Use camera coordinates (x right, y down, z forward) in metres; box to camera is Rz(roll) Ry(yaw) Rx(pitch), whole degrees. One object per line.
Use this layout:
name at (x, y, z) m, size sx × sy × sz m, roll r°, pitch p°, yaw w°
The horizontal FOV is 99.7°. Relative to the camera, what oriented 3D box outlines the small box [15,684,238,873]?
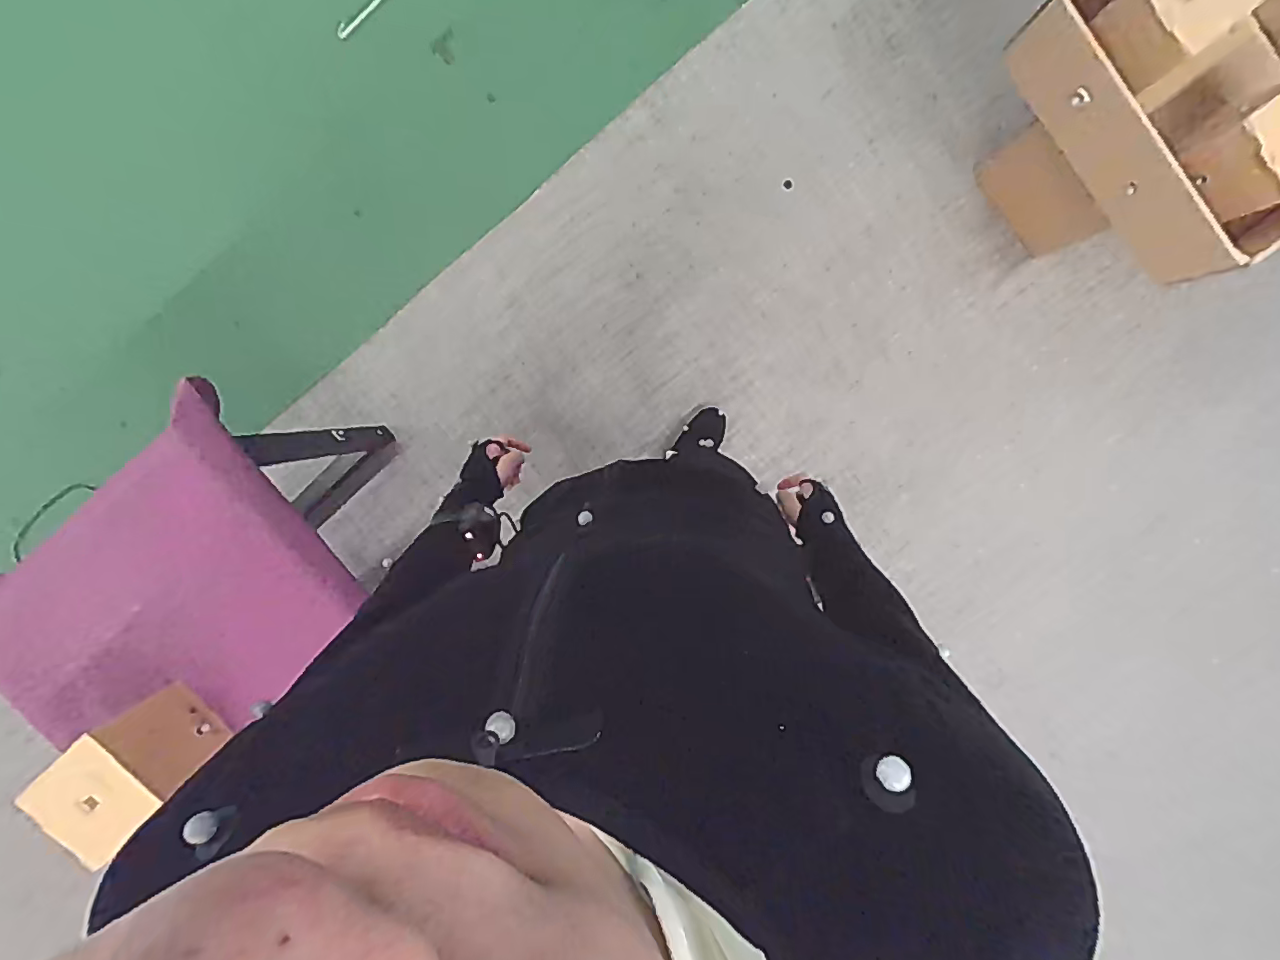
small box at (-0.834, 0.483, 0.899) m, size 0.179 × 0.176 × 0.168 m, roll -41°, pitch 95°, yaw 5°
